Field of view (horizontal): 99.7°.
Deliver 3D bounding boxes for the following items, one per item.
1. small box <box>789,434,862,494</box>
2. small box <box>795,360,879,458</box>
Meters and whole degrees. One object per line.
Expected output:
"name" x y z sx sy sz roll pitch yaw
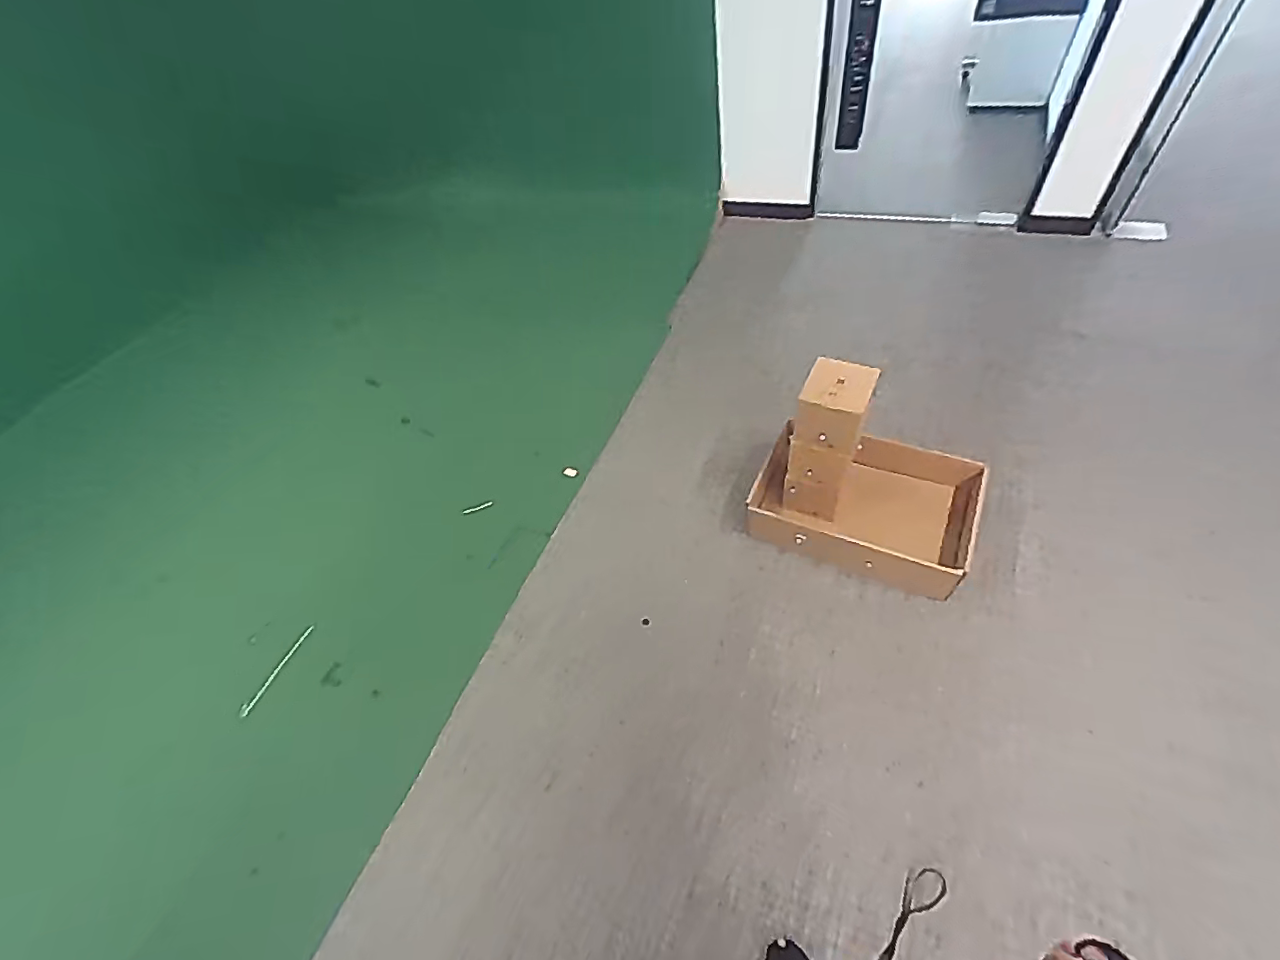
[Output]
"small box" 0.546 -0.091 1.595 0.168 0.176 0.179 19 59 22
"small box" 0.527 -0.192 1.466 0.168 0.176 0.179 19 59 23
